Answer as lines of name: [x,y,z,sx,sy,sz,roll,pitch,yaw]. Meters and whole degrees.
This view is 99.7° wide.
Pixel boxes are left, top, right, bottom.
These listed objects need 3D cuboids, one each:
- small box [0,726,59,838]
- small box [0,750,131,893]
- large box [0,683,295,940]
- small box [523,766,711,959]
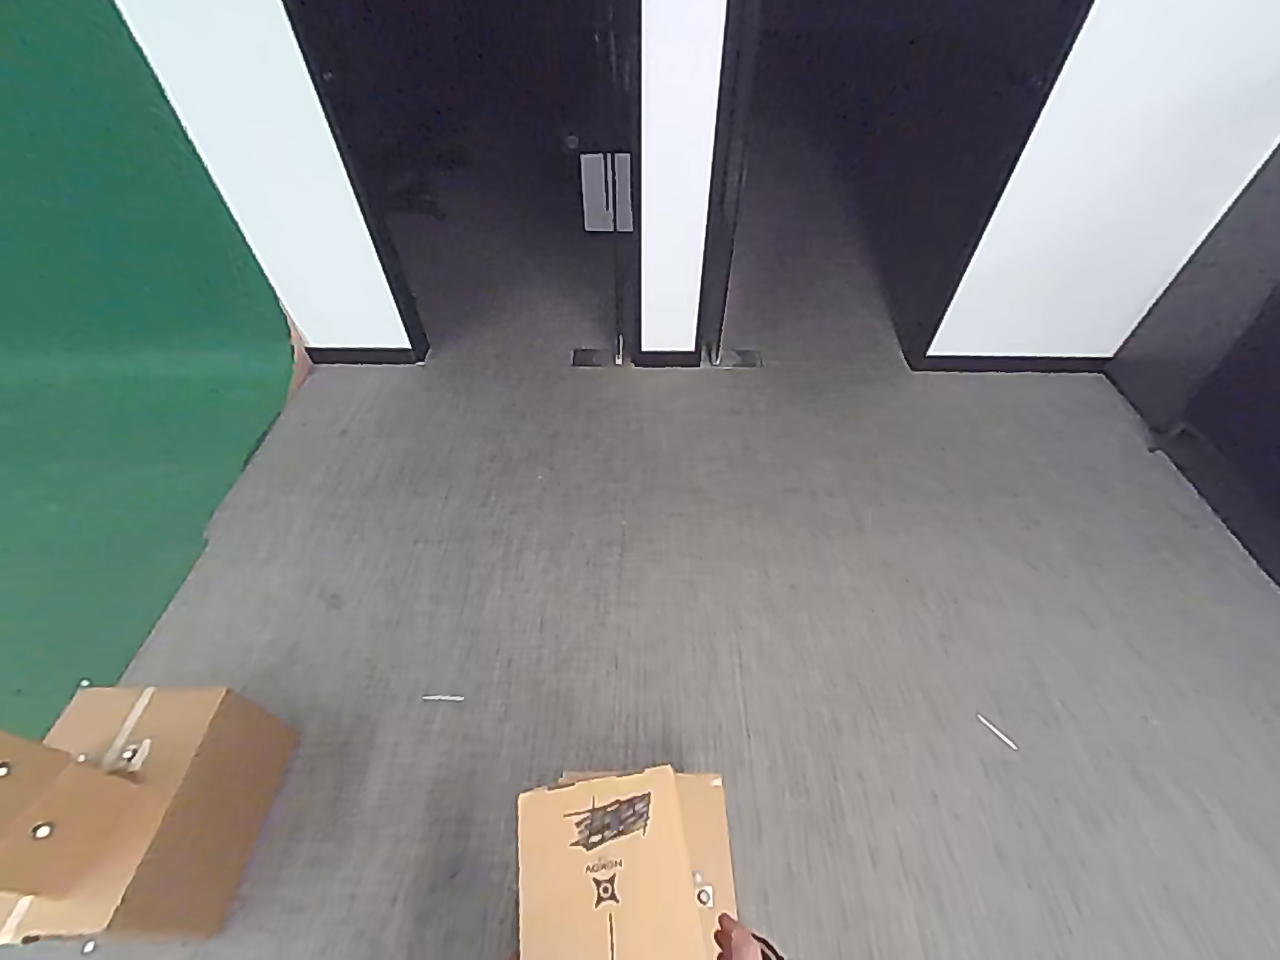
small box: [-1.021,0.441,0.781,0.168,0.176,0.179,10,51,10]
small box: [-1.015,0.555,0.897,0.168,0.176,0.179,8,50,7]
large box: [-1.009,0.677,1.113,0.320,0.320,0.408,0,48,0]
small box: [-0.028,0.430,0.573,0.168,0.176,0.179,-8,50,-5]
